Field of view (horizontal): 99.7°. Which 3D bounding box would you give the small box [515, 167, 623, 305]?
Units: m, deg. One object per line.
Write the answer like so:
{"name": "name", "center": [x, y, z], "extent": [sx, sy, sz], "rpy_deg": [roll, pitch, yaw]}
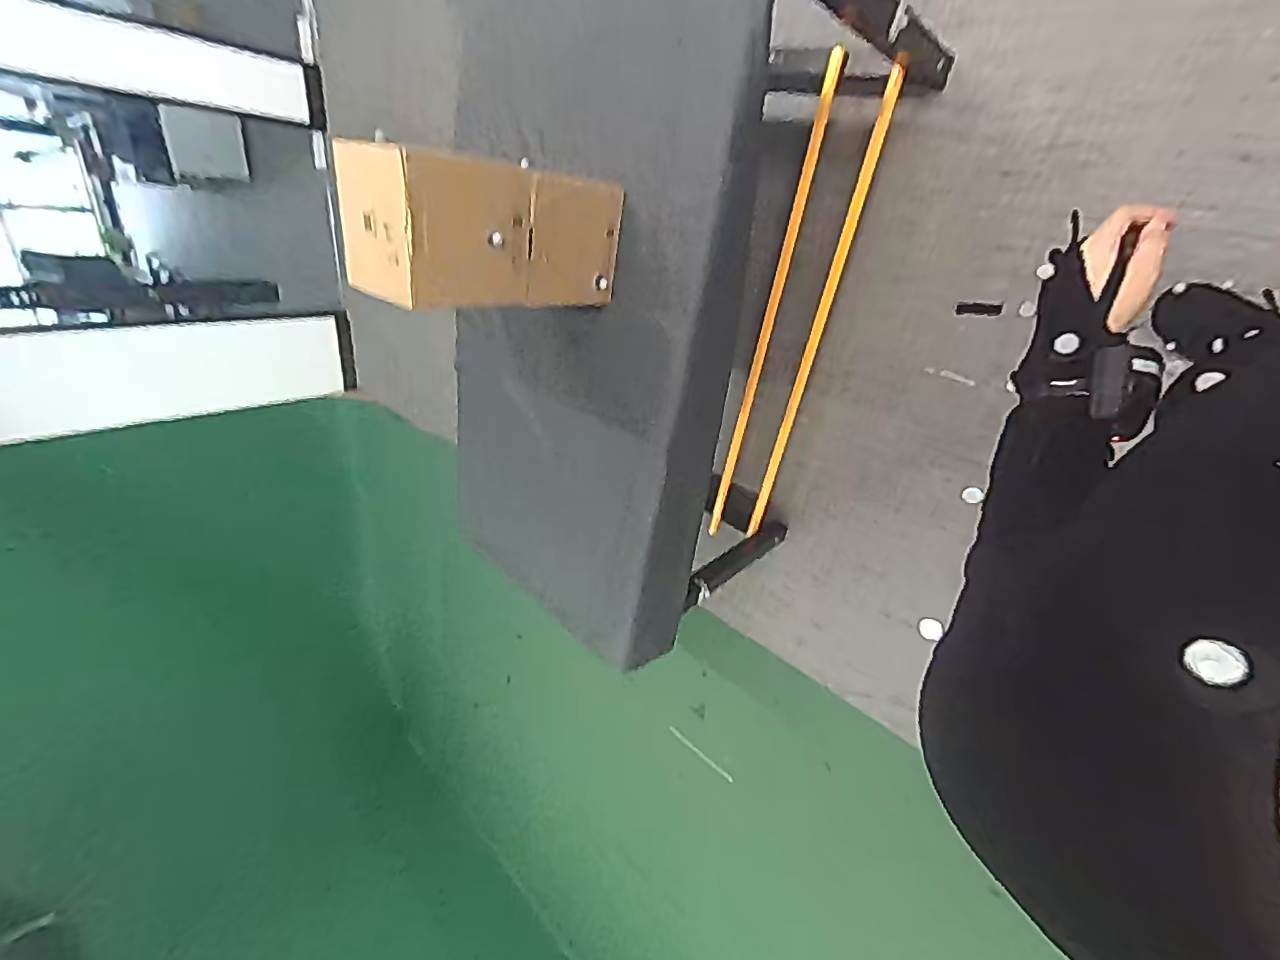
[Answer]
{"name": "small box", "center": [-0.147, -0.373, 0.817], "extent": [0.179, 0.176, 0.168], "rpy_deg": [30, 124, 33]}

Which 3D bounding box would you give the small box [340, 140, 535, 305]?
{"name": "small box", "center": [-0.259, -0.331, 0.703], "extent": [0.179, 0.176, 0.168], "rpy_deg": [27, 124, 34]}
